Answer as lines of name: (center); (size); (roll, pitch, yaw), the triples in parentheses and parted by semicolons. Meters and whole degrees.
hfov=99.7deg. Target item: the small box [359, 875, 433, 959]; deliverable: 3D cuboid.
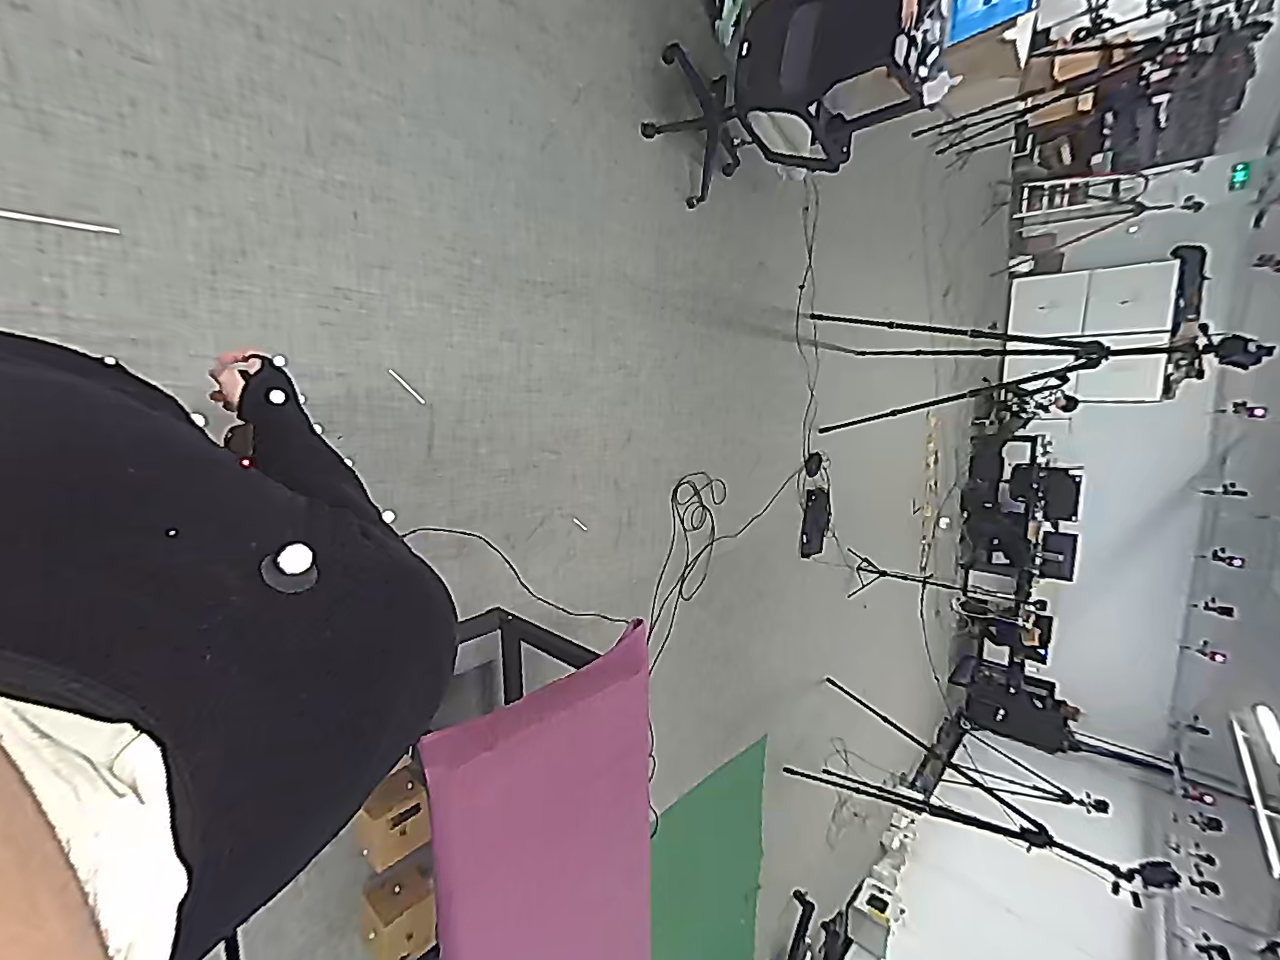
small box: (-0.774, 1.403, 1.714); (0.168, 0.176, 0.179); (-5, 98, -47)
